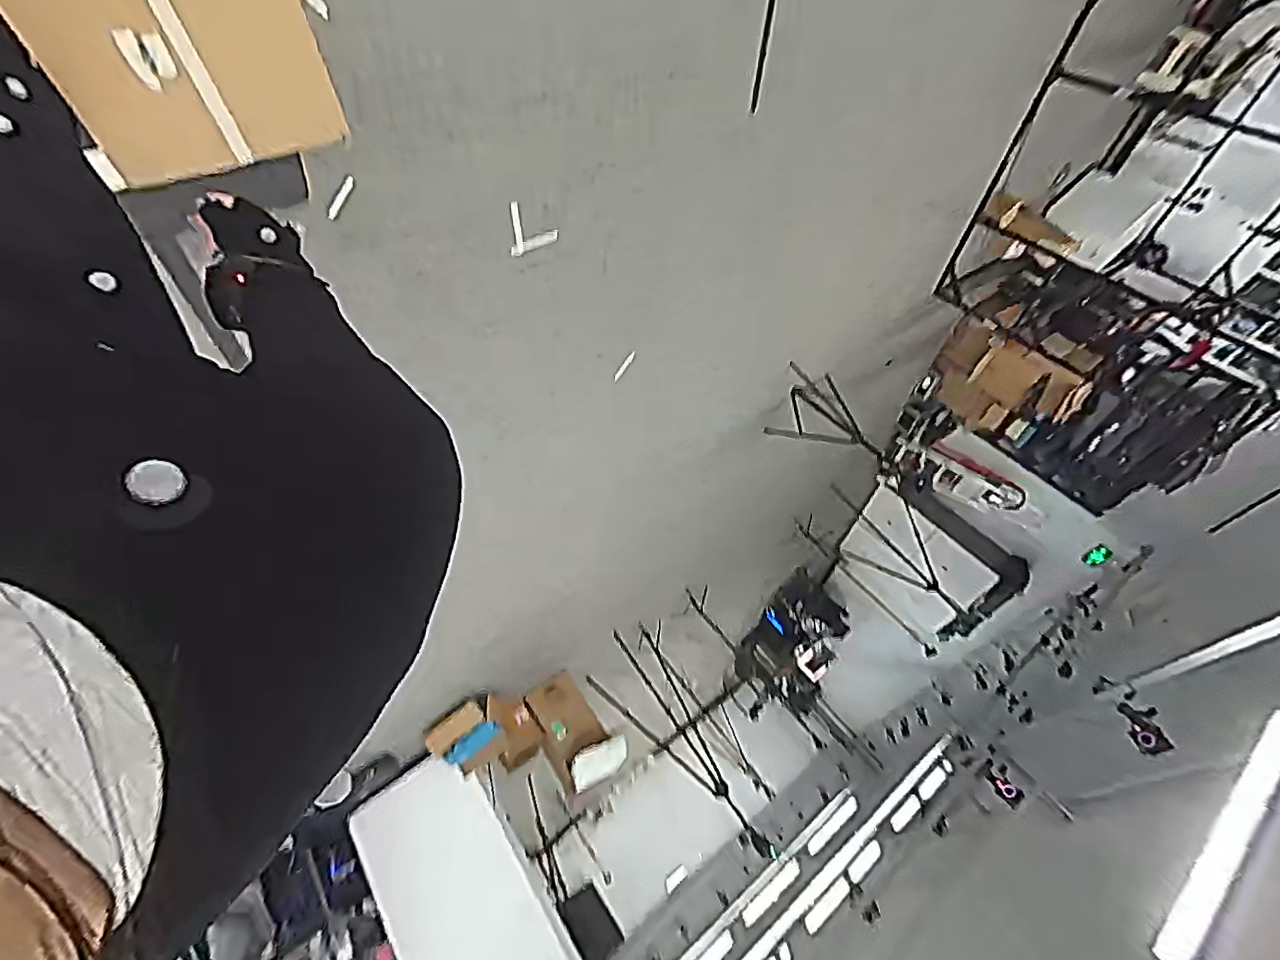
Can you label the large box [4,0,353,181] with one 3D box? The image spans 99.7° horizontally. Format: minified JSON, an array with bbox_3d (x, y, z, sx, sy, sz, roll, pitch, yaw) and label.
[{"bbox_3d":[-0.665,-0.707,0.730,0.320,0.320,0.408,-25,149,-18],"label":"large box"}]
